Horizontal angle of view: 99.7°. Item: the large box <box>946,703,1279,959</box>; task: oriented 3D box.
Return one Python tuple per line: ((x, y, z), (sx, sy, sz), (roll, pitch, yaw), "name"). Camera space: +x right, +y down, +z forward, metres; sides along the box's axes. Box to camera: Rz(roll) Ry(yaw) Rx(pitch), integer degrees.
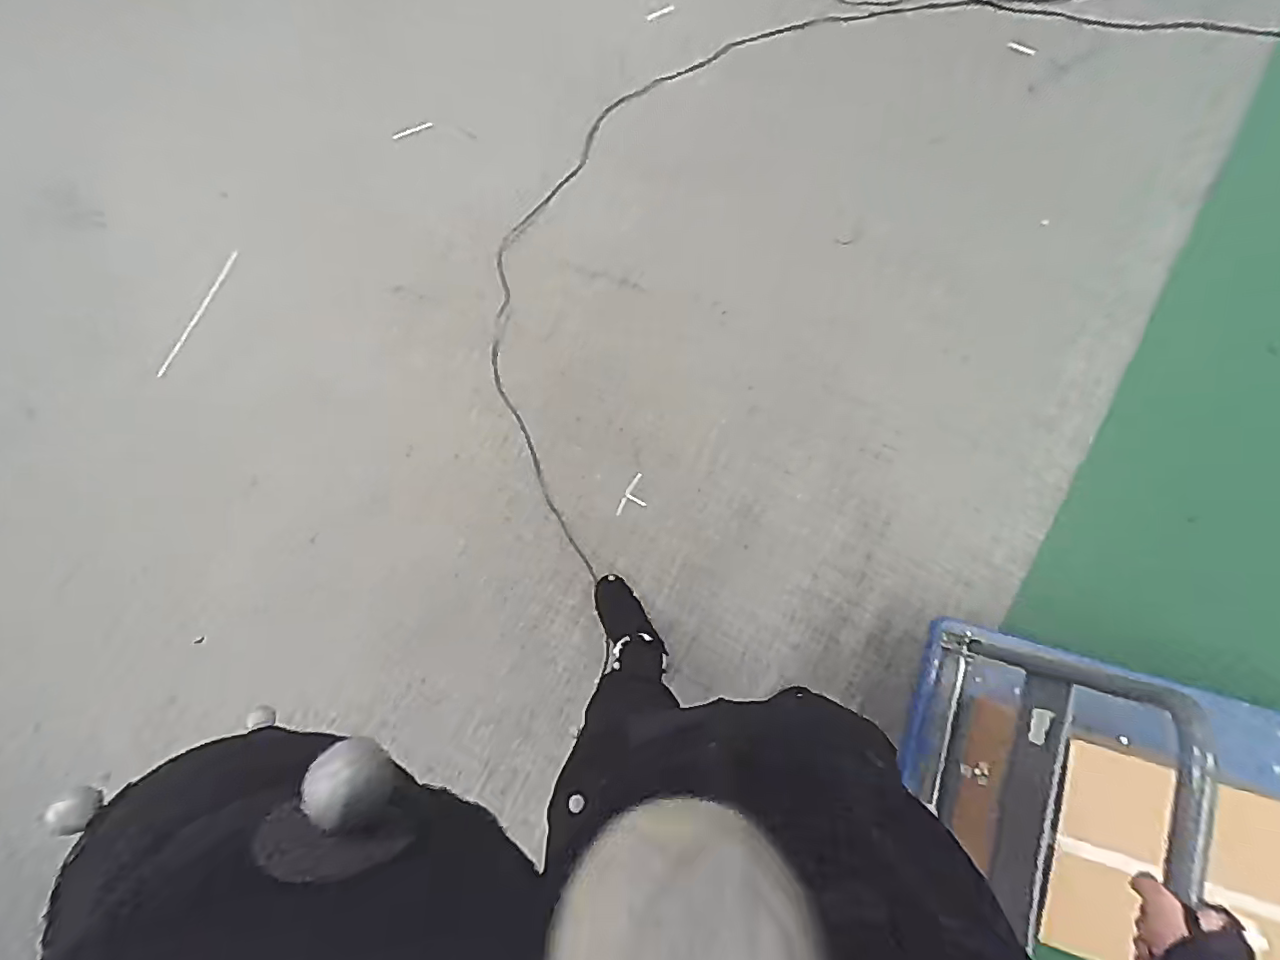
((0.854, 0.647, 0.993), (0.408, 0.320, 0.320), (15, 82, 8), "large box")
